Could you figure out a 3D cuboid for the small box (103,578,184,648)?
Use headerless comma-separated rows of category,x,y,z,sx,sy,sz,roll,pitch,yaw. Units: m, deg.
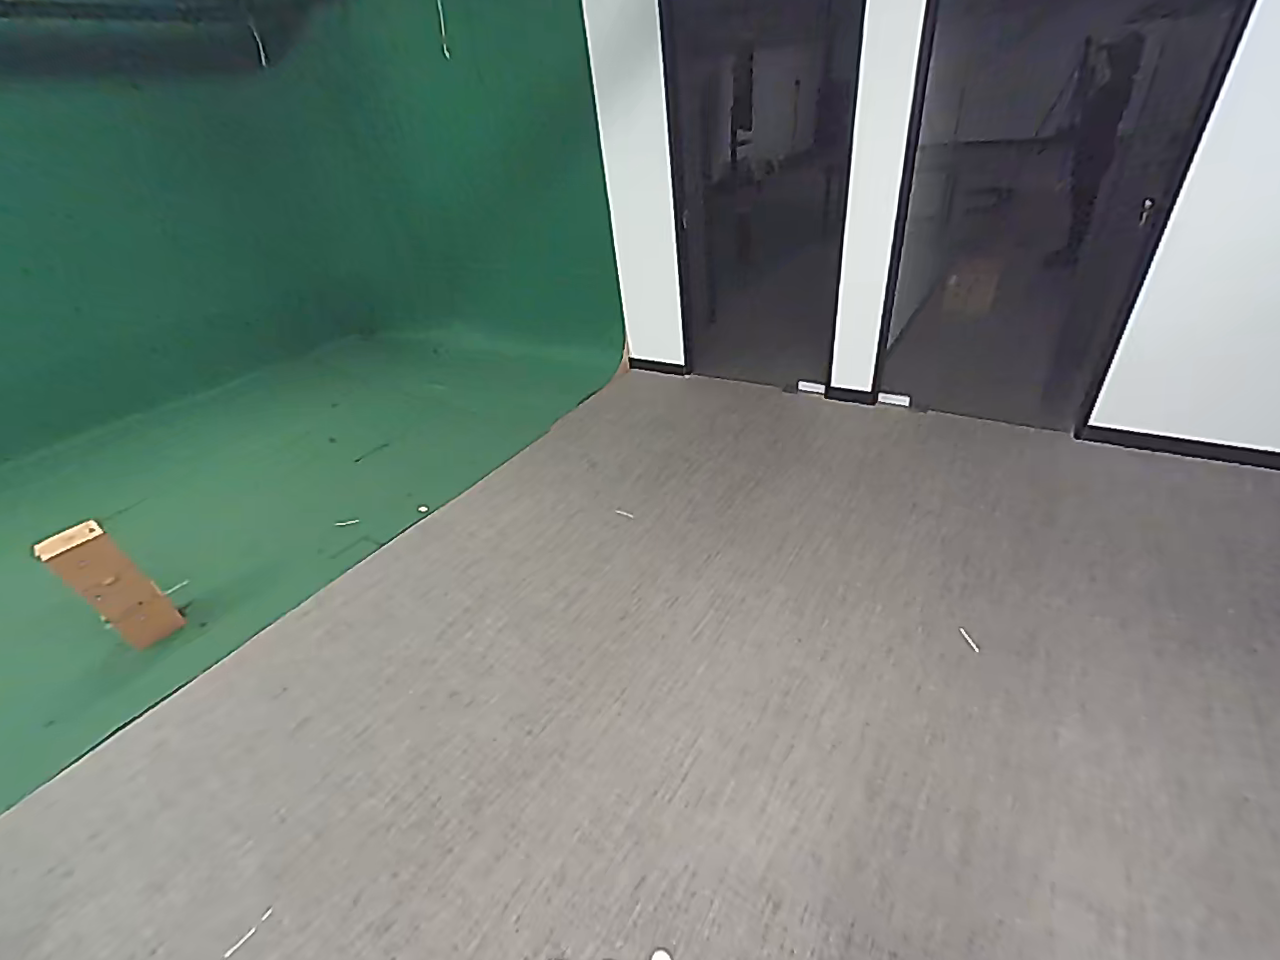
small box,-1.980,0.533,2.169,0.168,0.176,0.179,20,43,33

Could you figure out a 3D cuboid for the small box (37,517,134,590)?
small box,-2.023,0.270,1.977,0.168,0.176,0.179,18,43,33
